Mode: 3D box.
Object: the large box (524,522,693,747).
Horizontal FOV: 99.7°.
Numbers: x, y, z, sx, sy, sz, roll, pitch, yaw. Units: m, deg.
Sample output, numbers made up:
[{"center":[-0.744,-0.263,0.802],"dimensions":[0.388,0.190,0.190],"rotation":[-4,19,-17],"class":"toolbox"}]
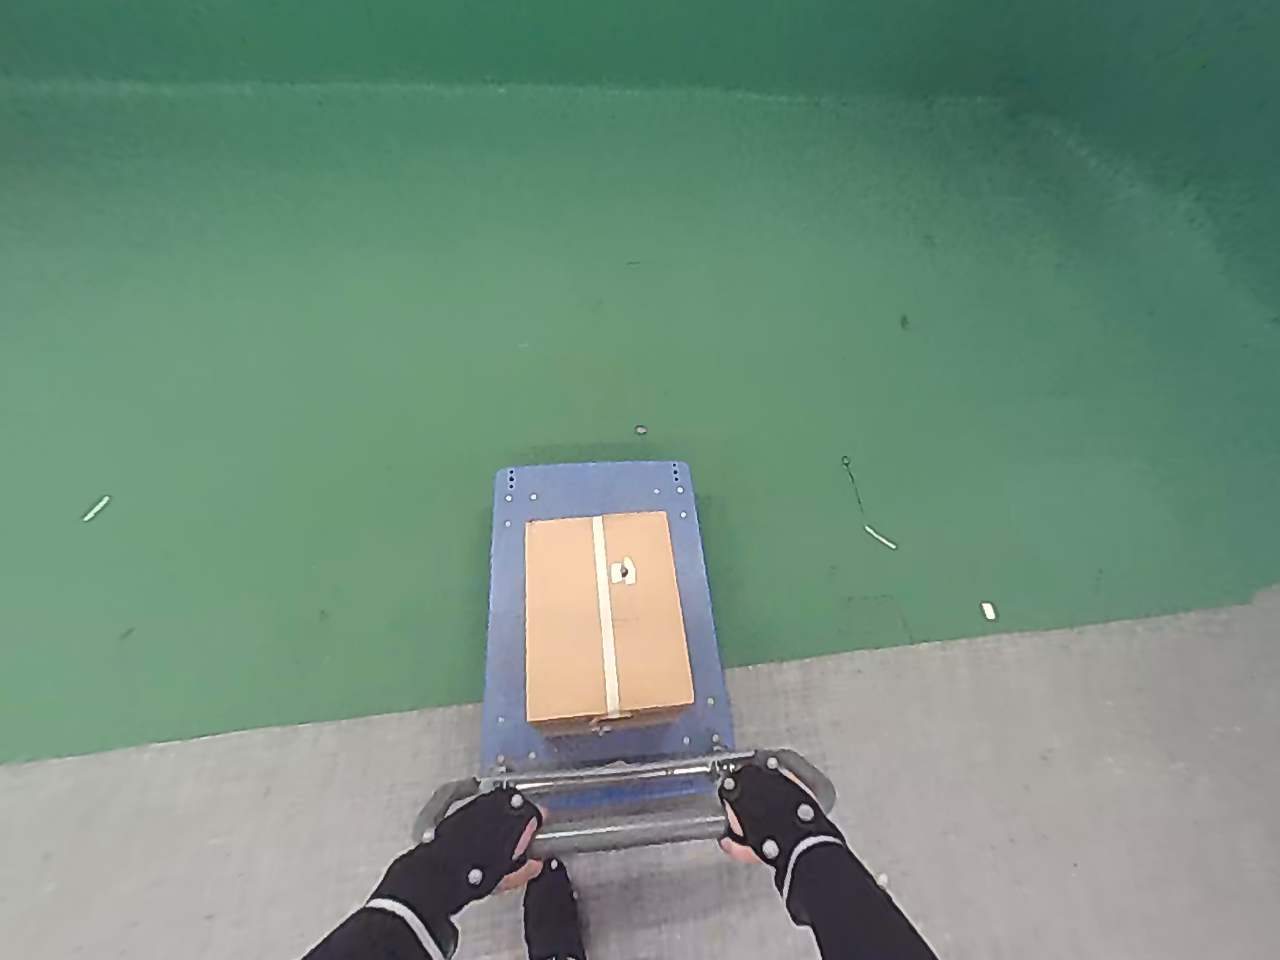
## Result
[{"center":[-0.083,0.352,1.221],"dimensions":[0.320,0.320,0.408],"rotation":[-4,60,-7],"class":"large box"}]
